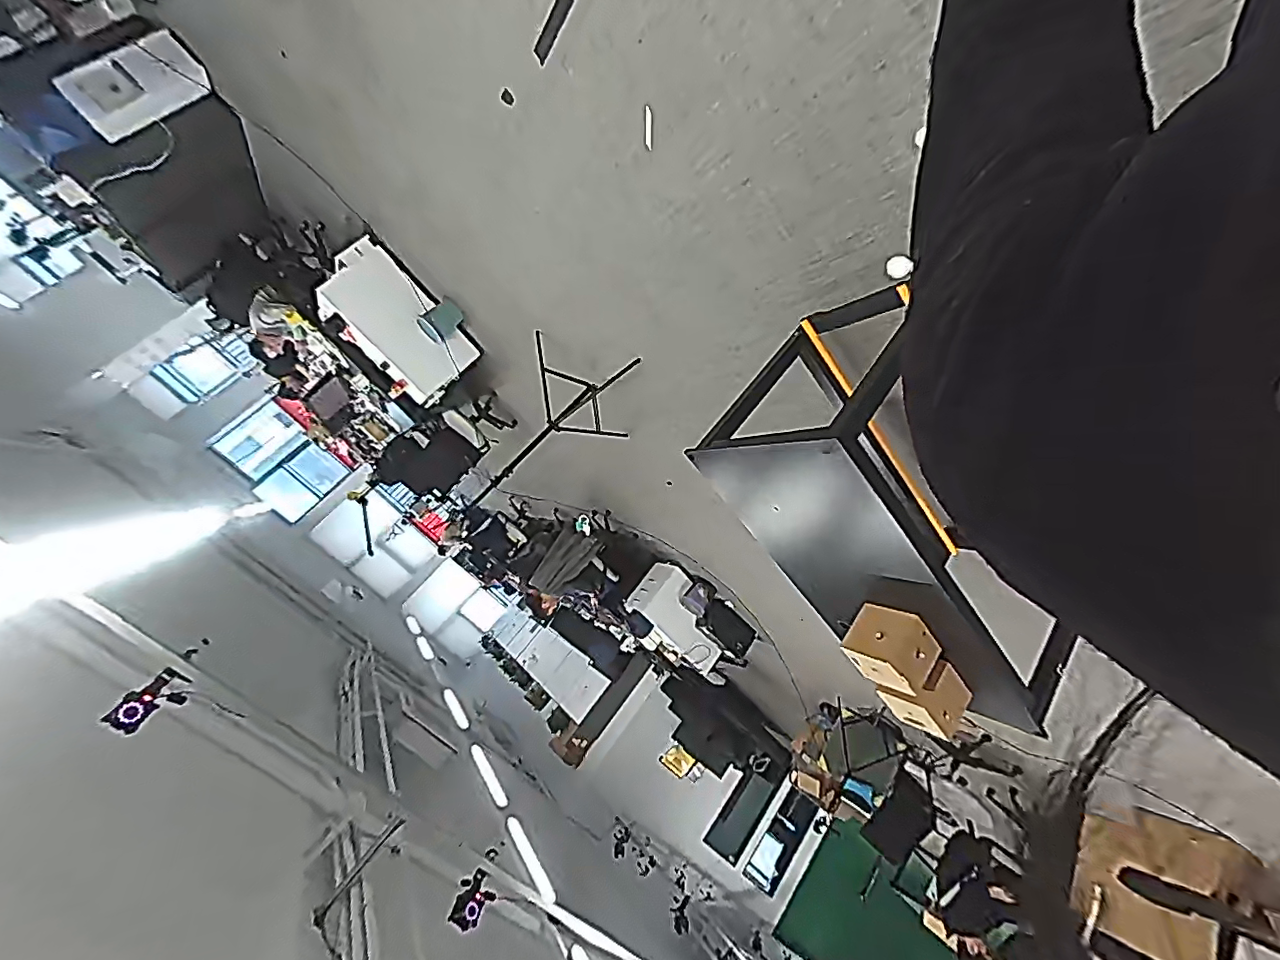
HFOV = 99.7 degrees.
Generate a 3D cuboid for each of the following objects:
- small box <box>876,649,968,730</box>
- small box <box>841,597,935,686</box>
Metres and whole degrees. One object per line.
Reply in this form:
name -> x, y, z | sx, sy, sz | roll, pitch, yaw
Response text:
small box -> 0.879, 0.630, 1.679 | 0.179, 0.176, 0.168 | 49, 159, -20
small box -> 0.738, 0.467, 1.592 | 0.168, 0.176, 0.179 | 48, 159, -21
